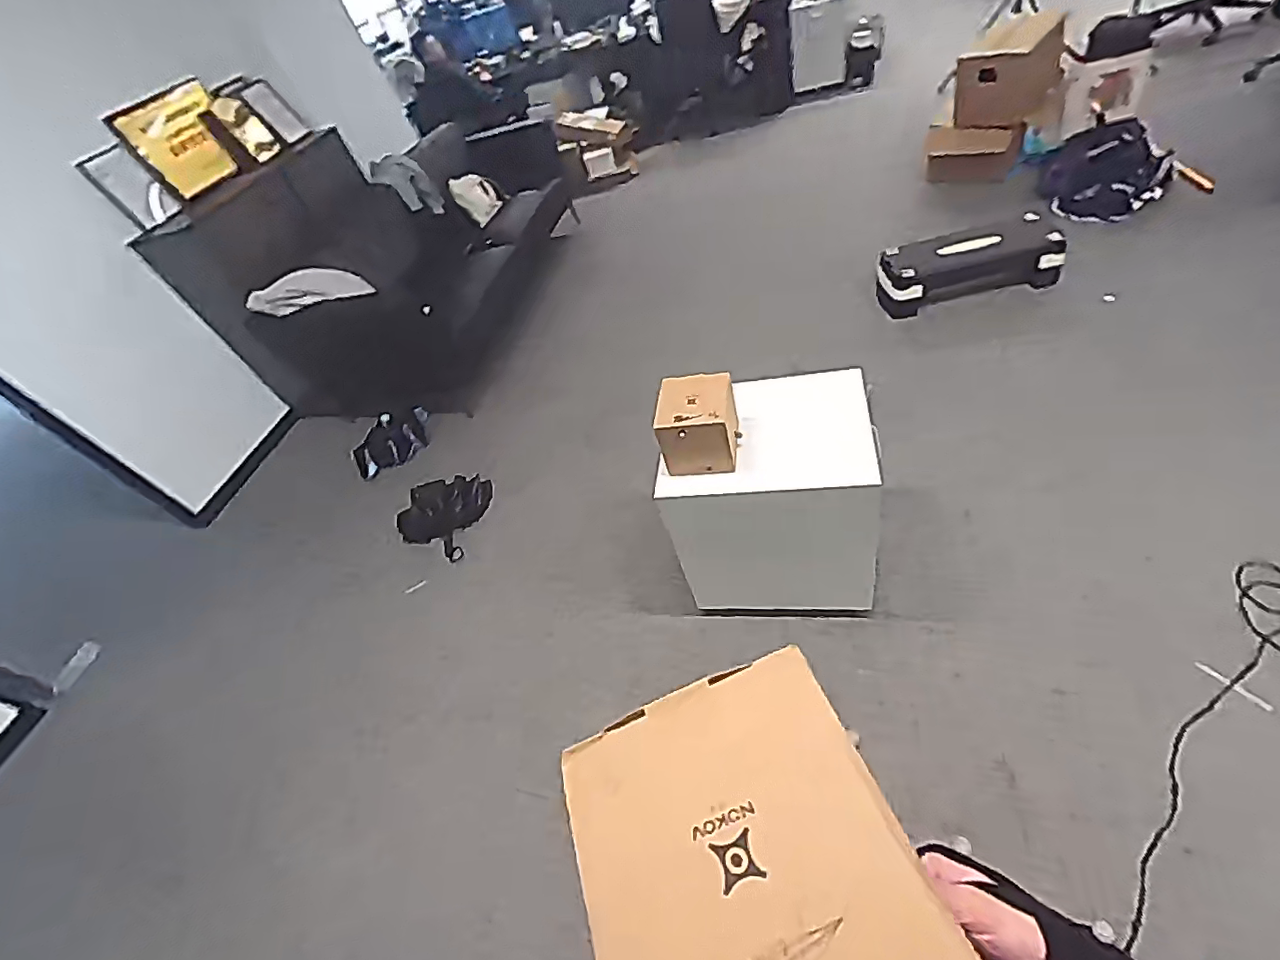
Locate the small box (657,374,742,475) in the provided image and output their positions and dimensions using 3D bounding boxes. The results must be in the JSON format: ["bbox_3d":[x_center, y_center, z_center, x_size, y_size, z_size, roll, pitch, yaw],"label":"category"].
[{"bbox_3d":[0.150,-0.131,1.302,0.168,0.176,0.179,-3,47,18],"label":"small box"}]

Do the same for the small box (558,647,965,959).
[{"bbox_3d":[0.068,0.243,0.337,0.168,0.176,0.179,-25,45,1],"label":"small box"}]
